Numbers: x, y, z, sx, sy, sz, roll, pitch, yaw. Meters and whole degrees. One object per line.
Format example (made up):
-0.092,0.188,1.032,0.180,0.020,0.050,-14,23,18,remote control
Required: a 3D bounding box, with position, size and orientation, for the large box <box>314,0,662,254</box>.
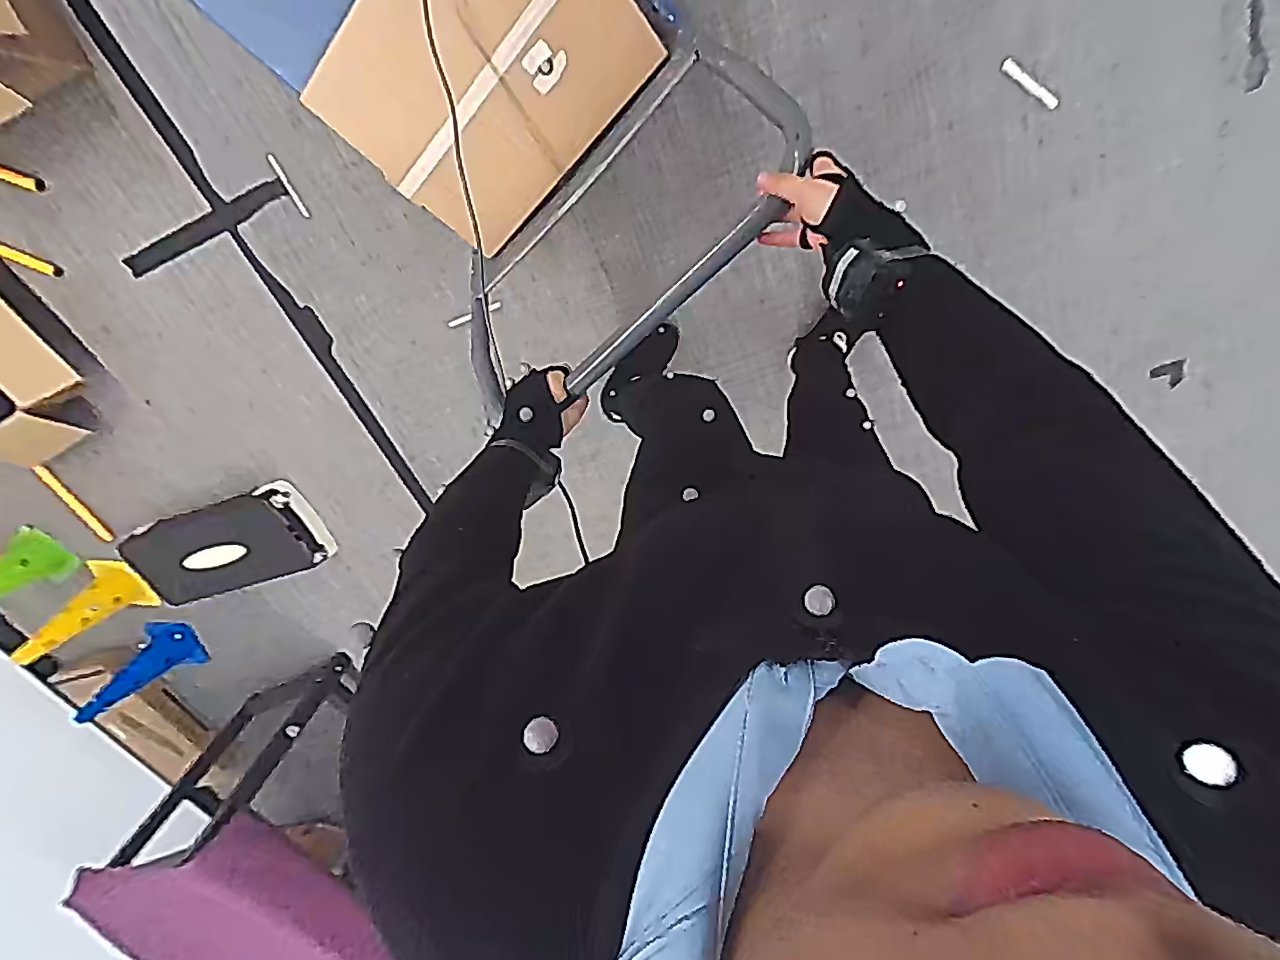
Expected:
-0.233,-0.661,0.856,0.408,0.320,0.320,-40,130,22,large box
